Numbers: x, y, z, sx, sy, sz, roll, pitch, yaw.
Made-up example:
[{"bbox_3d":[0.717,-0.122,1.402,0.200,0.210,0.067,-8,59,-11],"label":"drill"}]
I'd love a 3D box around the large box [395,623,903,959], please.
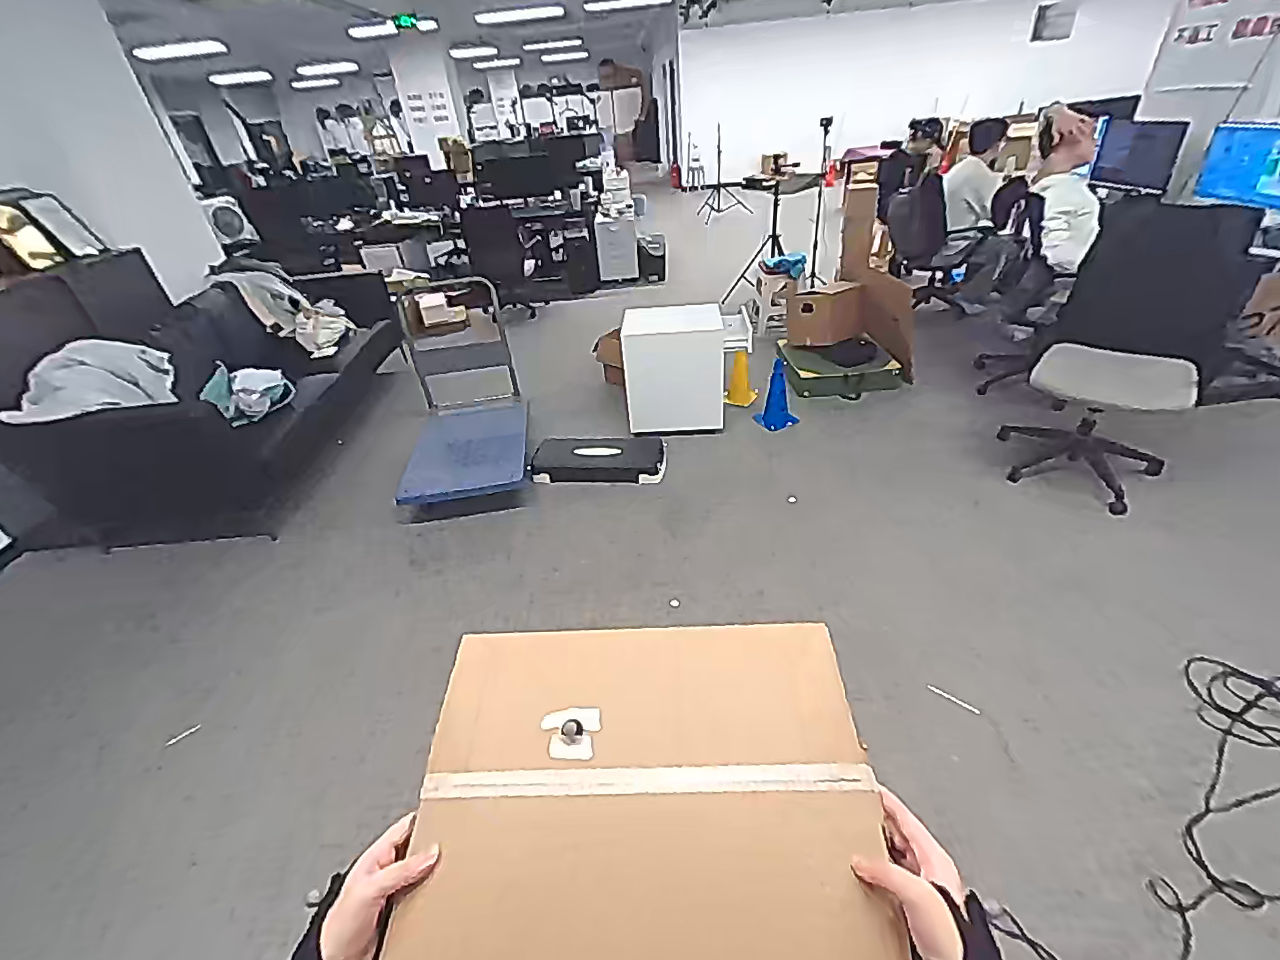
[{"bbox_3d":[0.016,0.387,0.610,0.408,0.320,0.320,-5,44,5],"label":"large box"}]
